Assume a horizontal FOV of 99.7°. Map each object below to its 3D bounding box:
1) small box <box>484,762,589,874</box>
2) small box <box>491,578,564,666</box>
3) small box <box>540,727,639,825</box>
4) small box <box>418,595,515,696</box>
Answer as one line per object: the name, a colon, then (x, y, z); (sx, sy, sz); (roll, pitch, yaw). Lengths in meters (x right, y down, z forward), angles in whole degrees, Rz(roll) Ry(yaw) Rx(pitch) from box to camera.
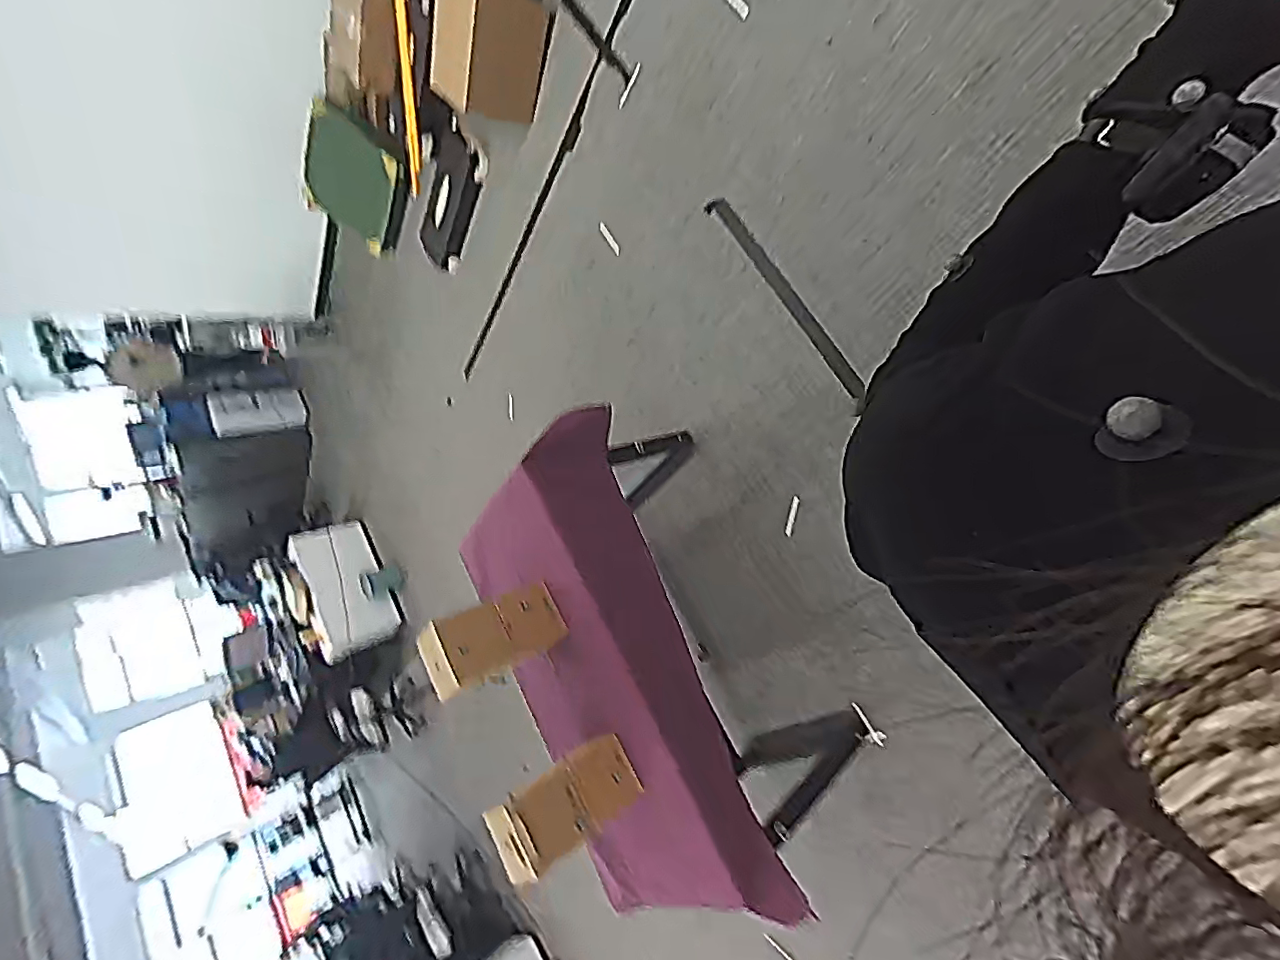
small box: (-0.249, 0.820, 1.321); (0.168, 0.176, 0.179); (59, 135, 17)
small box: (-0.338, 0.398, 1.529); (0.179, 0.176, 0.168); (-45, 69, 44)
small box: (-0.133, 0.786, 1.432); (0.179, 0.176, 0.168); (-45, 68, 43)
small box: (-0.452, 0.430, 1.415); (0.168, 0.176, 0.179); (-46, 68, 42)
